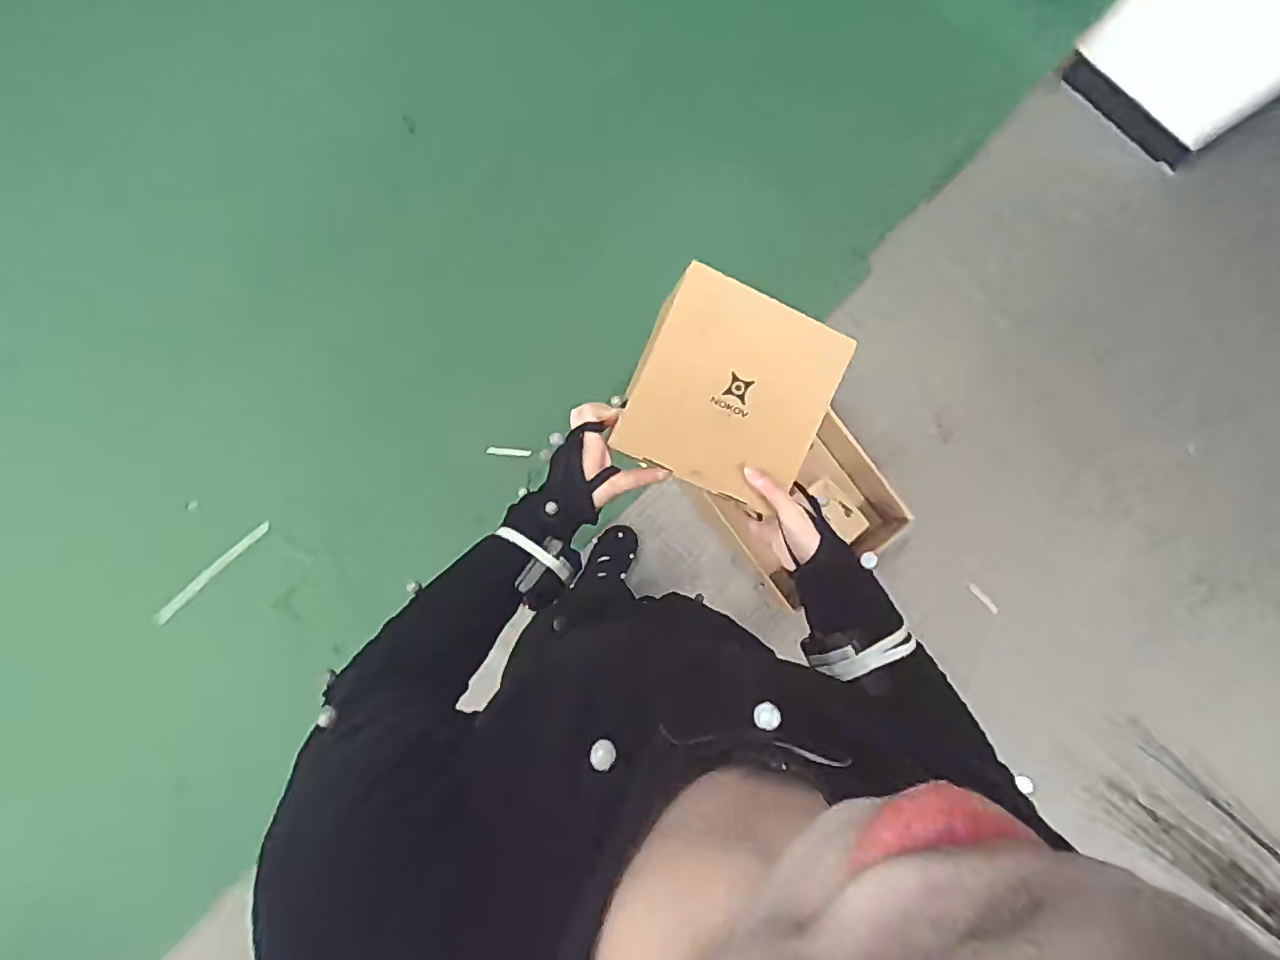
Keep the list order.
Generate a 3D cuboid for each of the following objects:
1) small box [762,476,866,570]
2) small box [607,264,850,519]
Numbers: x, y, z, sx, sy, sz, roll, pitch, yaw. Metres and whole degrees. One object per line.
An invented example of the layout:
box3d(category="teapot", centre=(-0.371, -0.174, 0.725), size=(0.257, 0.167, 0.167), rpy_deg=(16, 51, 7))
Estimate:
box3d(category="small box", centre=(0.436, 0.114, 1.398), size=(0.179, 0.176, 0.168), rpy_deg=(-39, 86, -5))
box3d(category="small box", centre=(0.071, -0.082, 0.550), size=(0.168, 0.176, 0.179), rpy_deg=(23, 94, -8))
